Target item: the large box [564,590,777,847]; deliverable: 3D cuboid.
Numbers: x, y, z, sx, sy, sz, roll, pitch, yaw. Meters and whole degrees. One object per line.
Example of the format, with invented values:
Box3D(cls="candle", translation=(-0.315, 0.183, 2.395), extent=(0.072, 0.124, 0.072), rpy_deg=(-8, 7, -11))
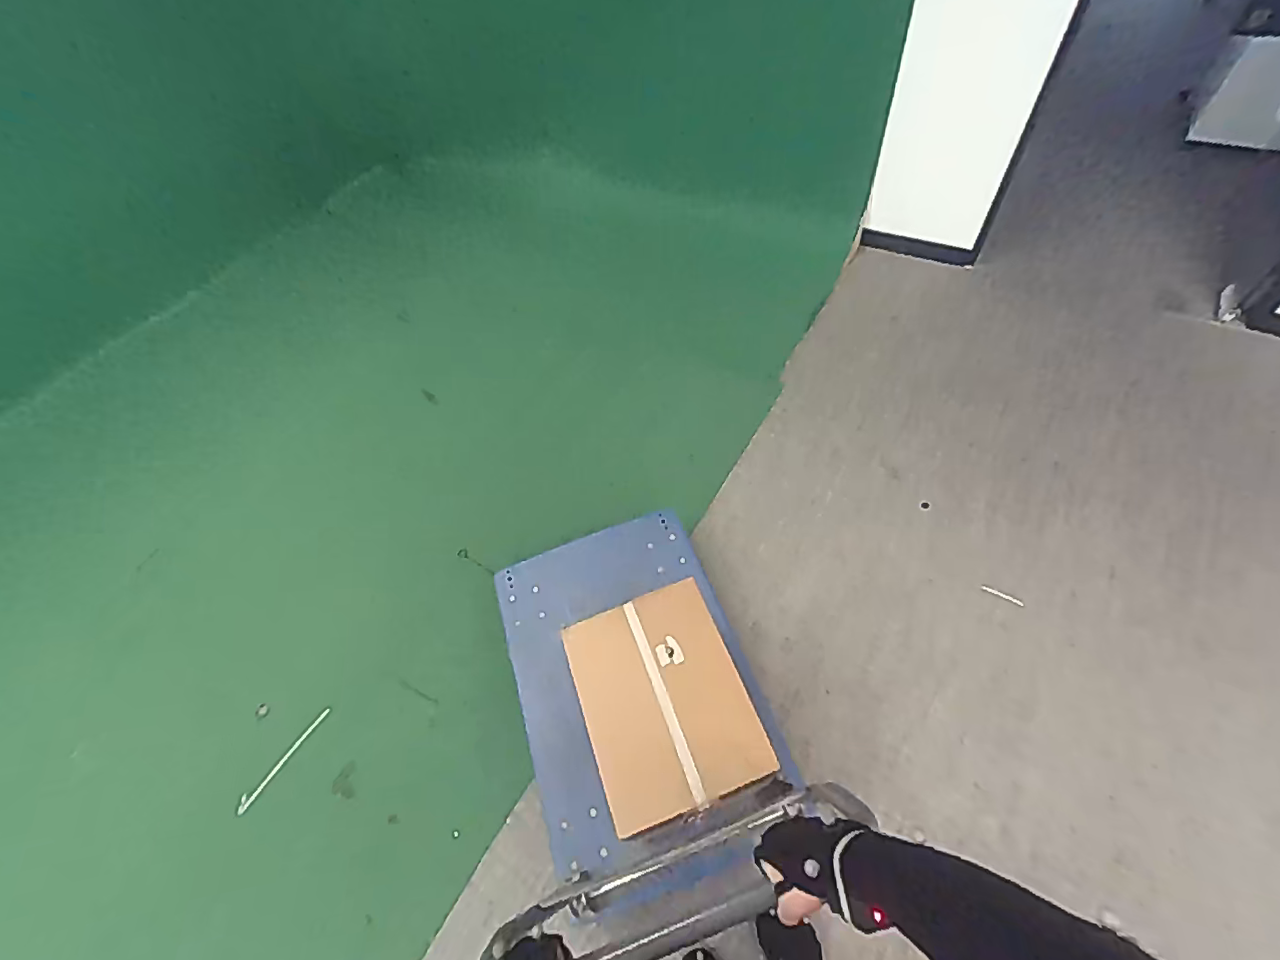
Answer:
Box3D(cls="large box", translation=(0.065, 0.527, 1.198), extent=(0.320, 0.320, 0.408), rpy_deg=(-20, 55, -6))
